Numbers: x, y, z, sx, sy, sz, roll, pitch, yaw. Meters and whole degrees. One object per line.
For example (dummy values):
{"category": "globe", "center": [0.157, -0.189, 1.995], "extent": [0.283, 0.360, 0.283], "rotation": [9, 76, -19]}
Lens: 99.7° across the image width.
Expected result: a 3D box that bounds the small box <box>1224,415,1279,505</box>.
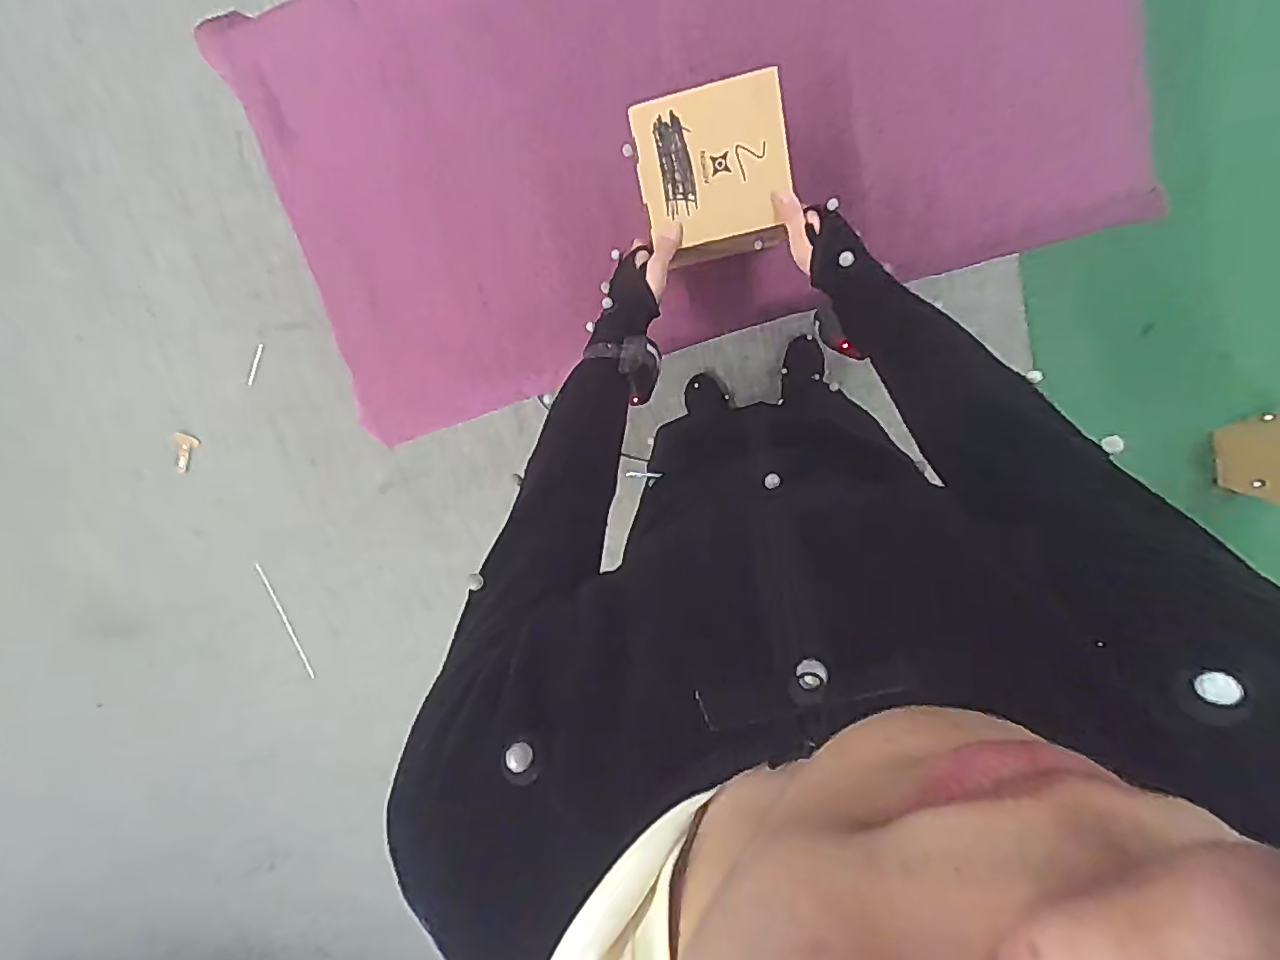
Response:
{"category": "small box", "center": [1.650, -0.054, 1.370], "extent": [0.168, 0.176, 0.179], "rotation": [-17, 102, 10]}
